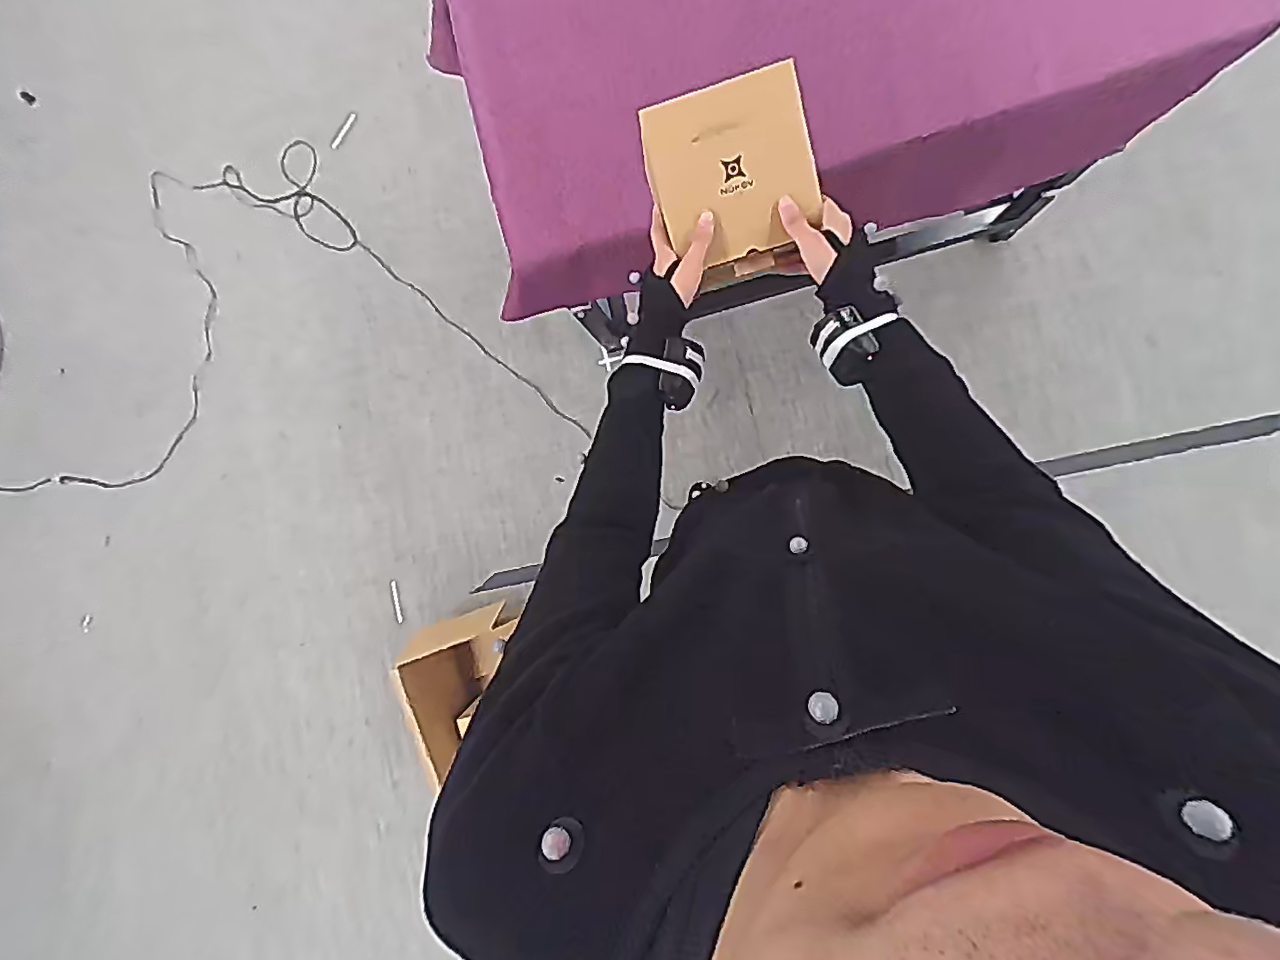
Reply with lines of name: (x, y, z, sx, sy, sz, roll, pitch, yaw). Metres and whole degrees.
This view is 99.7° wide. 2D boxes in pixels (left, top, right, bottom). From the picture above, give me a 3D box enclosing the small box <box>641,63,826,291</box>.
small box: (0.105, -0.337, 0.646, 0.168, 0.176, 0.179, -15, 100, 6)
